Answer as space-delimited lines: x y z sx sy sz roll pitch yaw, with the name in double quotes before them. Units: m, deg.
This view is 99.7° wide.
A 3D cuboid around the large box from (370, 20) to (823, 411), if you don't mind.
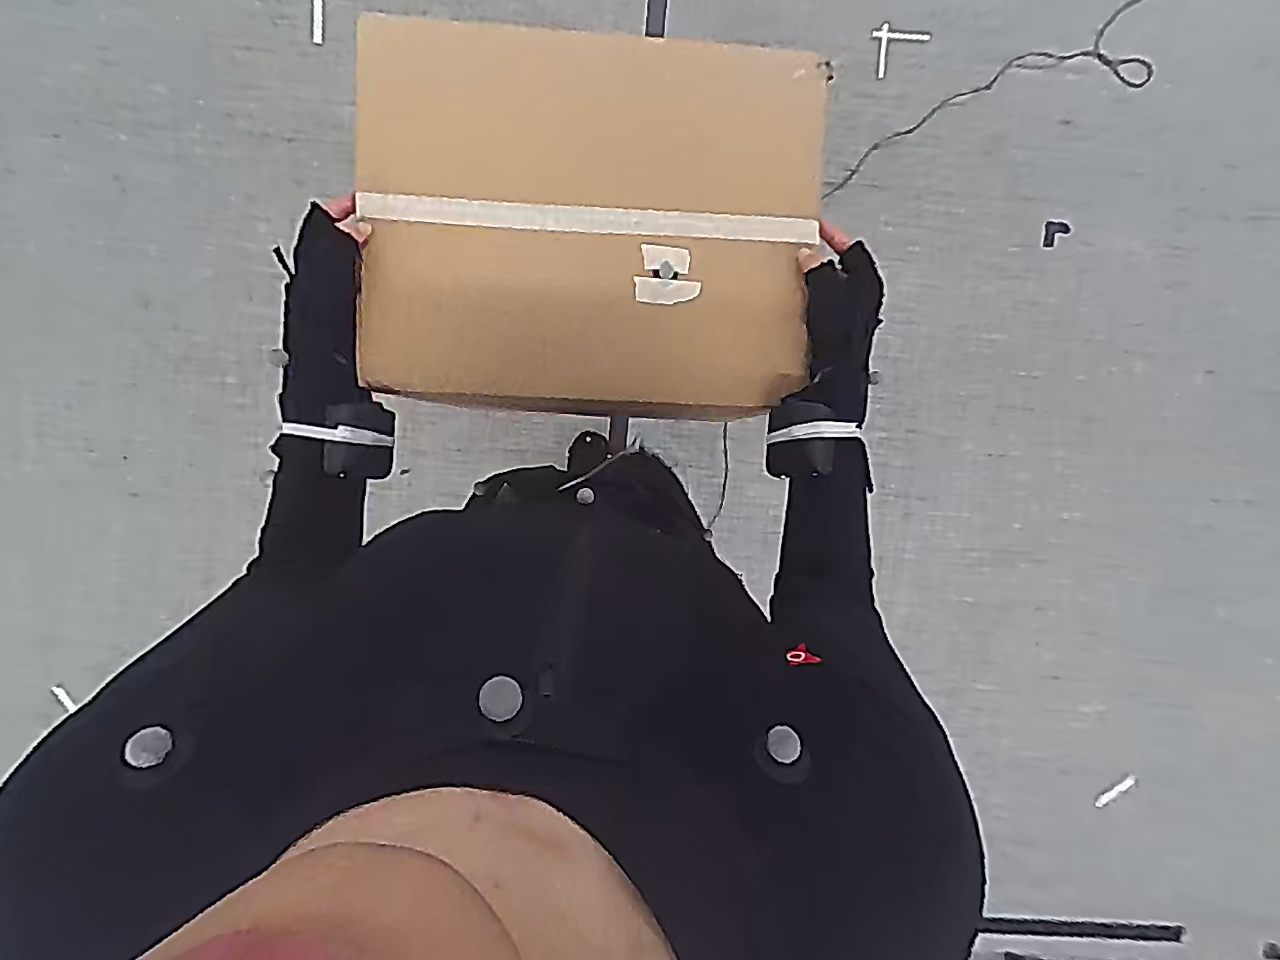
"large box" -0.049 -0.247 0.633 0.408 0.320 0.320 3 96 -4
